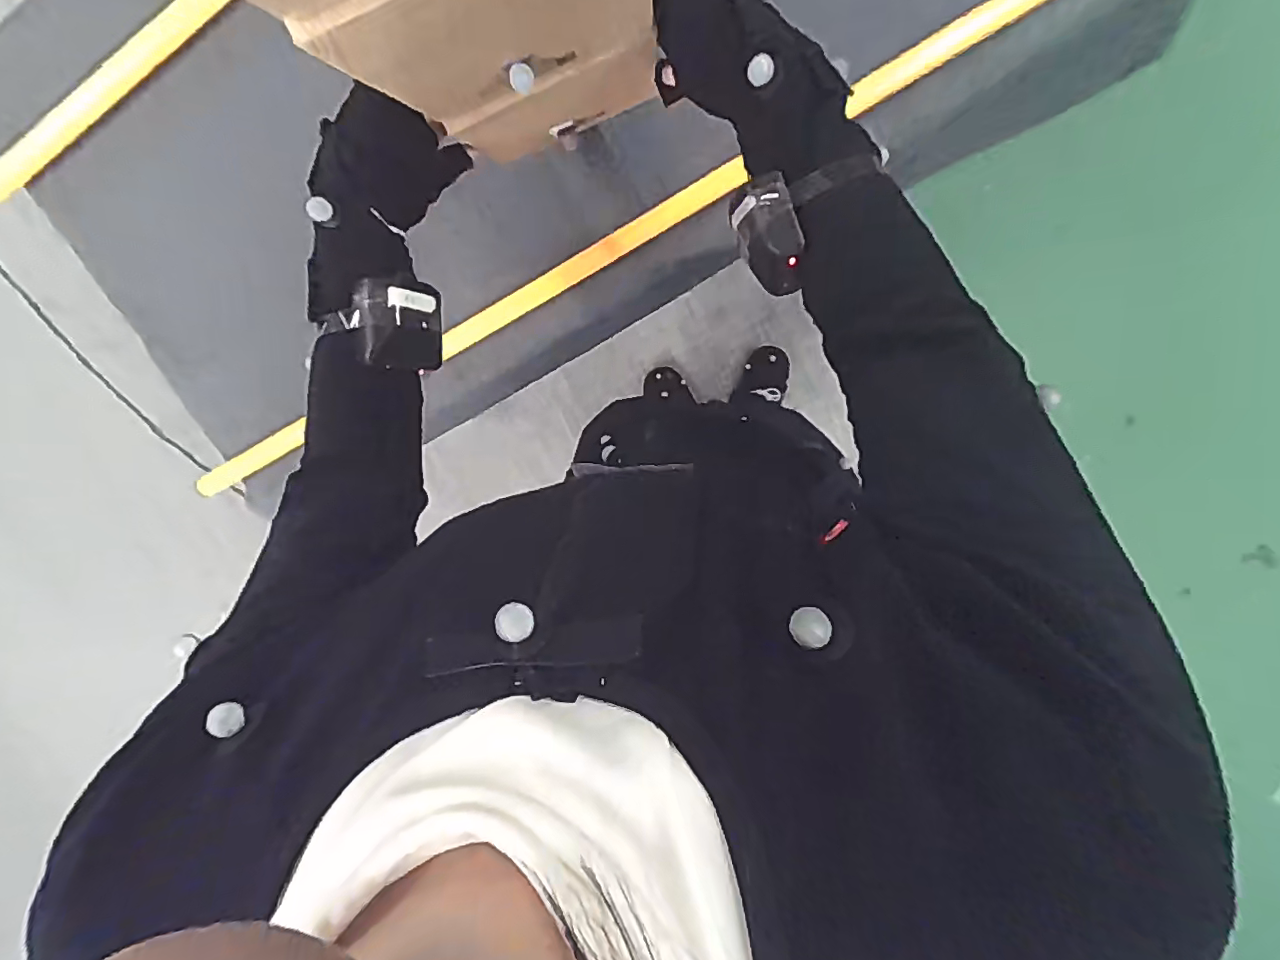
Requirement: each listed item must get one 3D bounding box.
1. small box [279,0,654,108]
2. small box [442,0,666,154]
[{"bbox_3d":[-0.095,-0.326,0.269,0.168,0.176,0.179,-14,112,11],"label":"small box"},{"bbox_3d":[-0.085,-0.387,0.422,0.168,0.176,0.179,-18,112,12],"label":"small box"}]
